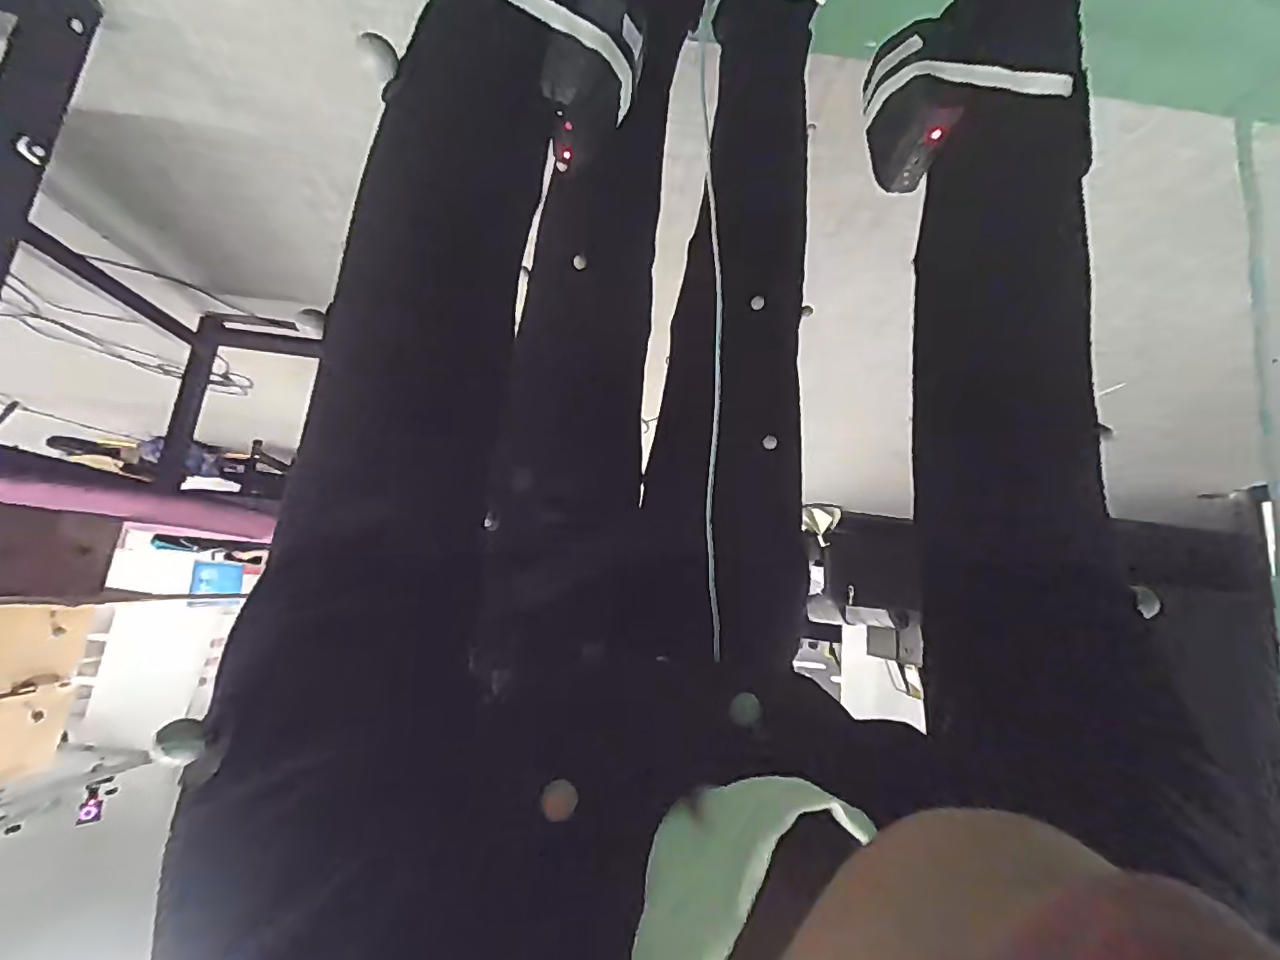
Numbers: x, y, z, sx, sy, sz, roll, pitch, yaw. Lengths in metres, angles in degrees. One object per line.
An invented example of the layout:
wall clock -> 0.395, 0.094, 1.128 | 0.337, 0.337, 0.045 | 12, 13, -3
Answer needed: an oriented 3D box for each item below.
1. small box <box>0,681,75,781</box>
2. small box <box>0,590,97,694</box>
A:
small box -> -1.257, 0.469, 1.029 | 0.179, 0.176, 0.168 | 8, 168, -4
small box -> -1.243, 0.309, 1.062 | 0.179, 0.176, 0.168 | 9, 169, -6
